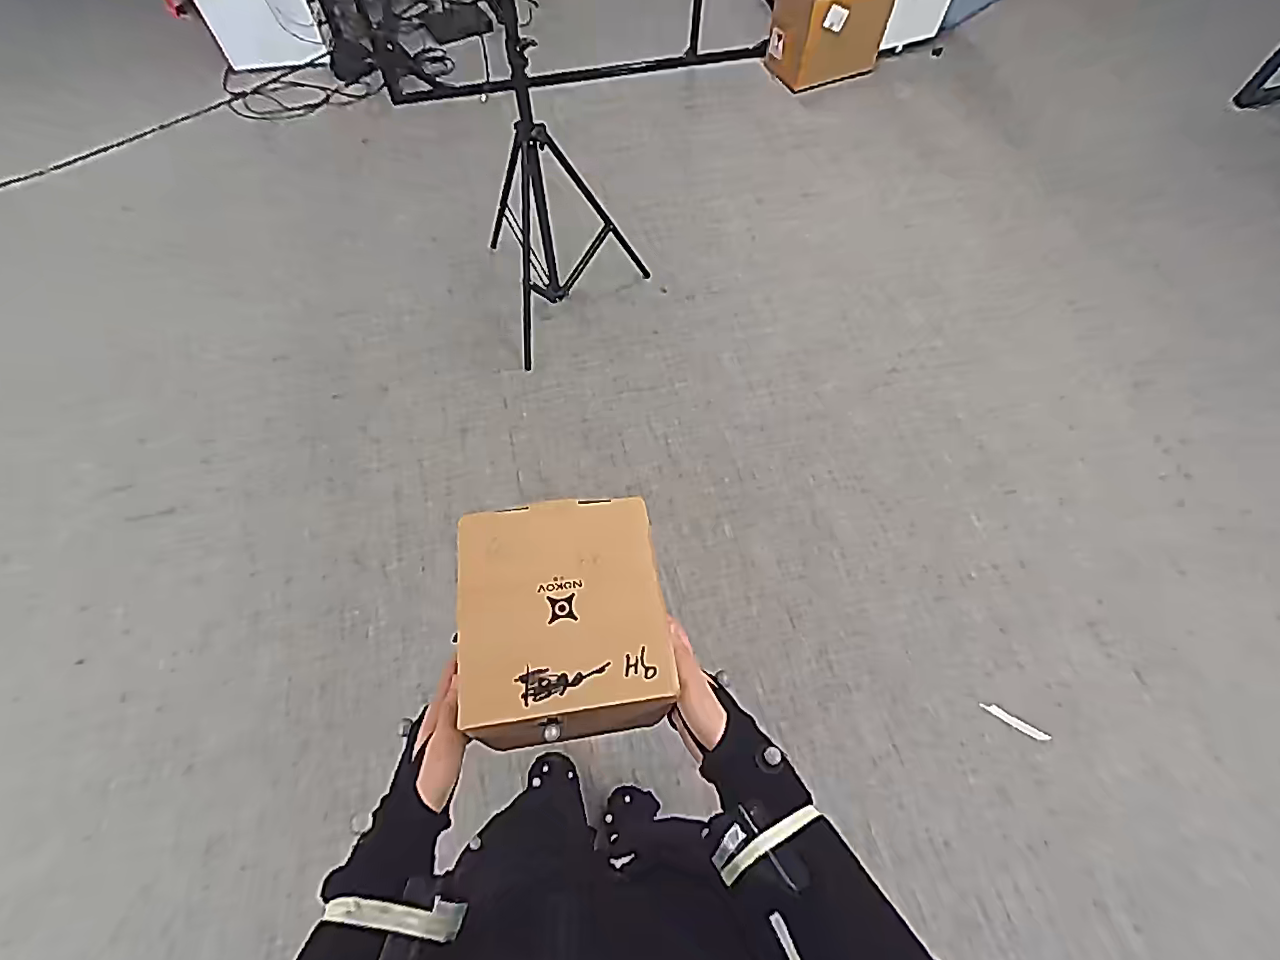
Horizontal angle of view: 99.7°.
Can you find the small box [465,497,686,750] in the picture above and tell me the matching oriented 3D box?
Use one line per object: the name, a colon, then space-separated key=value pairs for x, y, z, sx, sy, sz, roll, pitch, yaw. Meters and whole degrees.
small box: x=-0.064 y=0.137 z=0.506 sx=0.168 sy=0.176 sz=0.179 roll=-6 pitch=59 yaw=-9
